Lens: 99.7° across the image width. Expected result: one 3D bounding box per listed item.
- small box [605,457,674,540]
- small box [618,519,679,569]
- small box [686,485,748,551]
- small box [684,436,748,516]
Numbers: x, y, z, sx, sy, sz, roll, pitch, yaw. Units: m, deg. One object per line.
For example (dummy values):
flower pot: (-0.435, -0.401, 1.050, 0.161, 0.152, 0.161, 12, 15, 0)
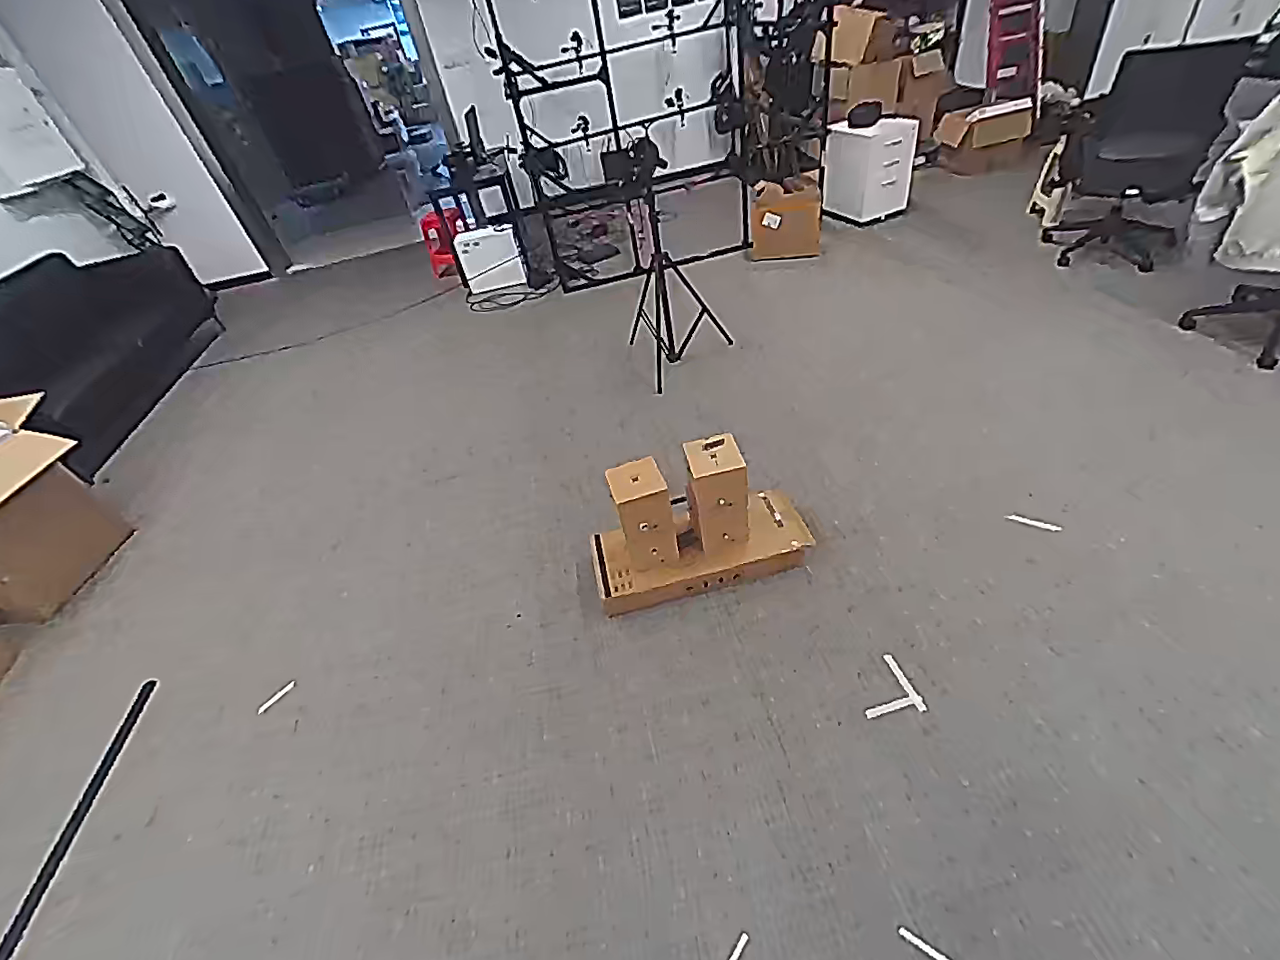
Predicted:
small box: (0.000, 0.061, 1.723, 0.168, 0.176, 0.179, -18, 41, -6)
small box: (0.026, 0.181, 1.831, 0.168, 0.176, 0.179, -16, 41, -4)
small box: (0.264, 0.113, 1.849, 0.168, 0.176, 0.179, -16, 40, -3)
small box: (0.244, -0.013, 1.745, 0.168, 0.176, 0.179, -13, 41, 0)
